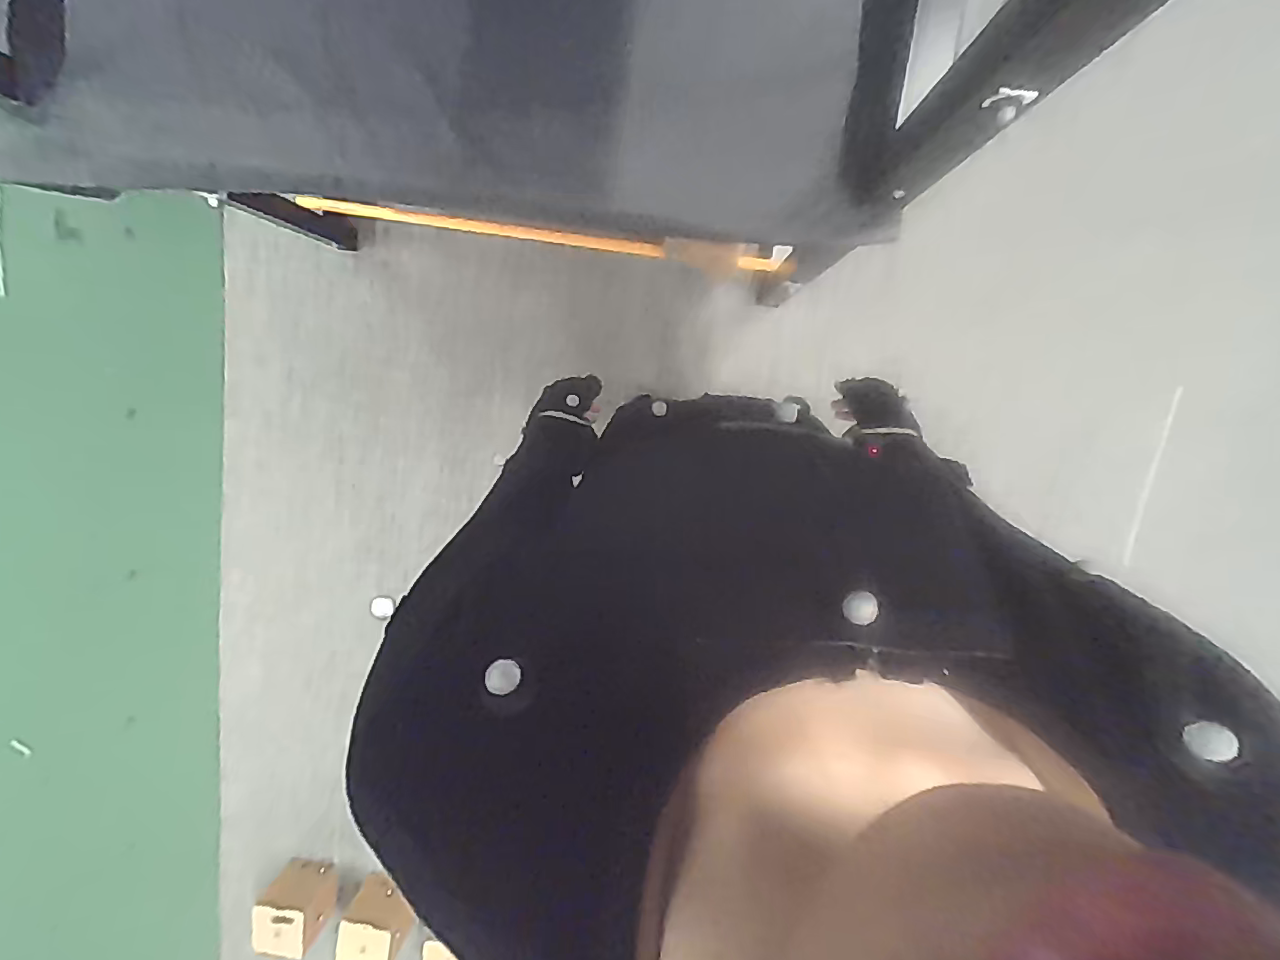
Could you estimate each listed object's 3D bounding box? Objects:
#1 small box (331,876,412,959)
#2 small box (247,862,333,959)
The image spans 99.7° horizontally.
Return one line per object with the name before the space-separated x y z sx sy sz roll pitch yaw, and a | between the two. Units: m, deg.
small box | -0.843 1.409 1.706 0.168 0.176 0.179 11 100 3
small box | -1.107 1.364 1.719 0.168 0.176 0.179 8 100 3
